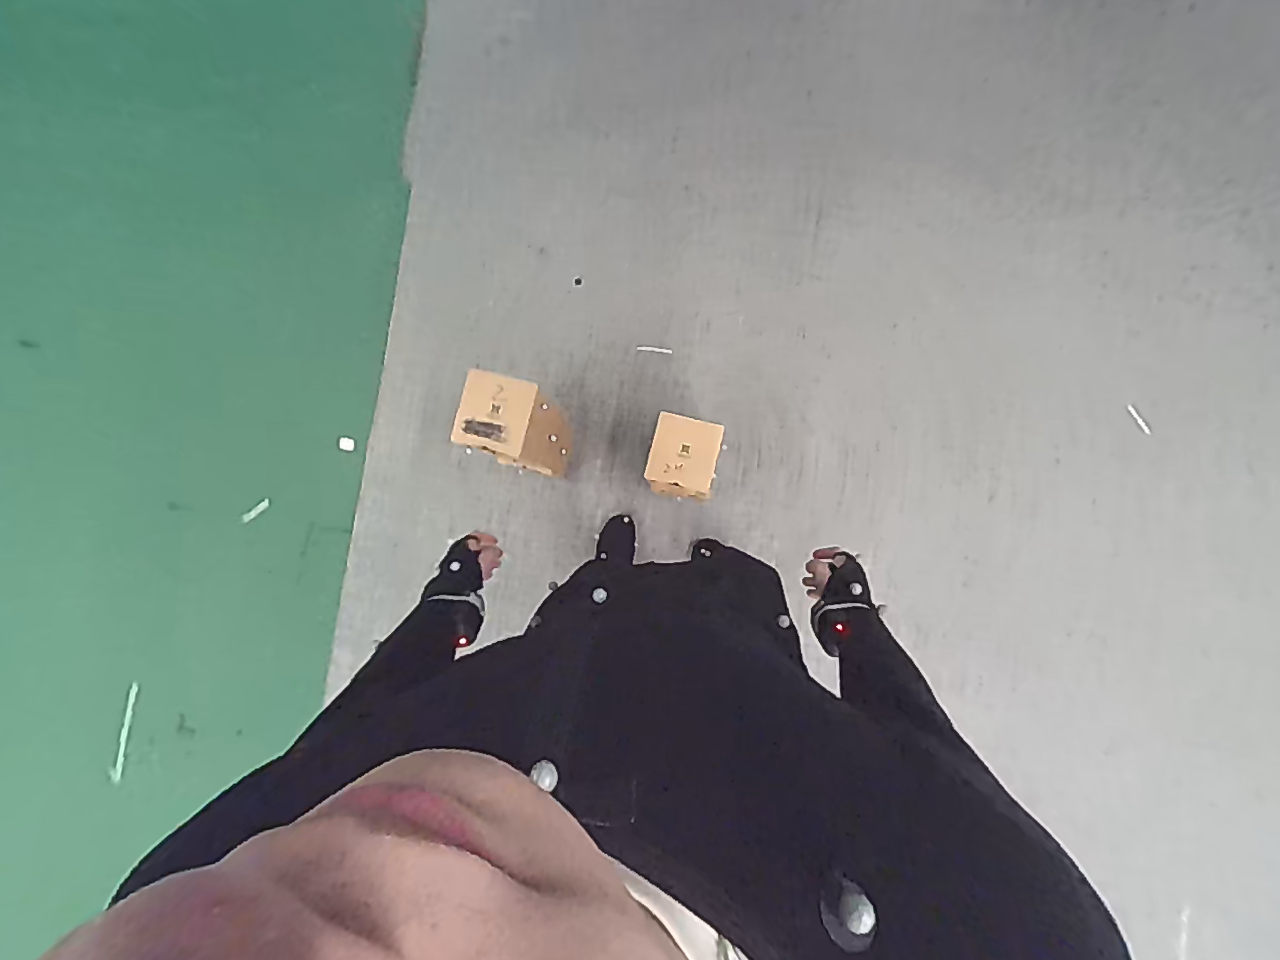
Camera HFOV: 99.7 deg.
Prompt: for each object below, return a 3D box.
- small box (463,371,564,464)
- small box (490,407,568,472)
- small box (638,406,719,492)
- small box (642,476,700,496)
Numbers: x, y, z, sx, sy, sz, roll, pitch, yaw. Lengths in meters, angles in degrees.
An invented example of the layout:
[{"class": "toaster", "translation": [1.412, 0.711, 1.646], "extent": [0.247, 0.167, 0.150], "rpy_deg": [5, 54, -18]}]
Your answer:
[{"class": "small box", "translation": [-0.330, -0.157, 1.446], "extent": [0.168, 0.176, 0.179], "rpy_deg": [-45, 84, 2]}, {"class": "small box", "translation": [-0.321, -0.128, 1.599], "extent": [0.168, 0.176, 0.179], "rpy_deg": [14, 86, 4]}, {"class": "small box", "translation": [0.099, -0.074, 1.400], "extent": [0.168, 0.176, 0.179], "rpy_deg": [15, 87, 6]}, {"class": "small box", "translation": [0.108, -0.053, 1.564], "extent": [0.168, 0.176, 0.179], "rpy_deg": [11, 88, 4]}]
